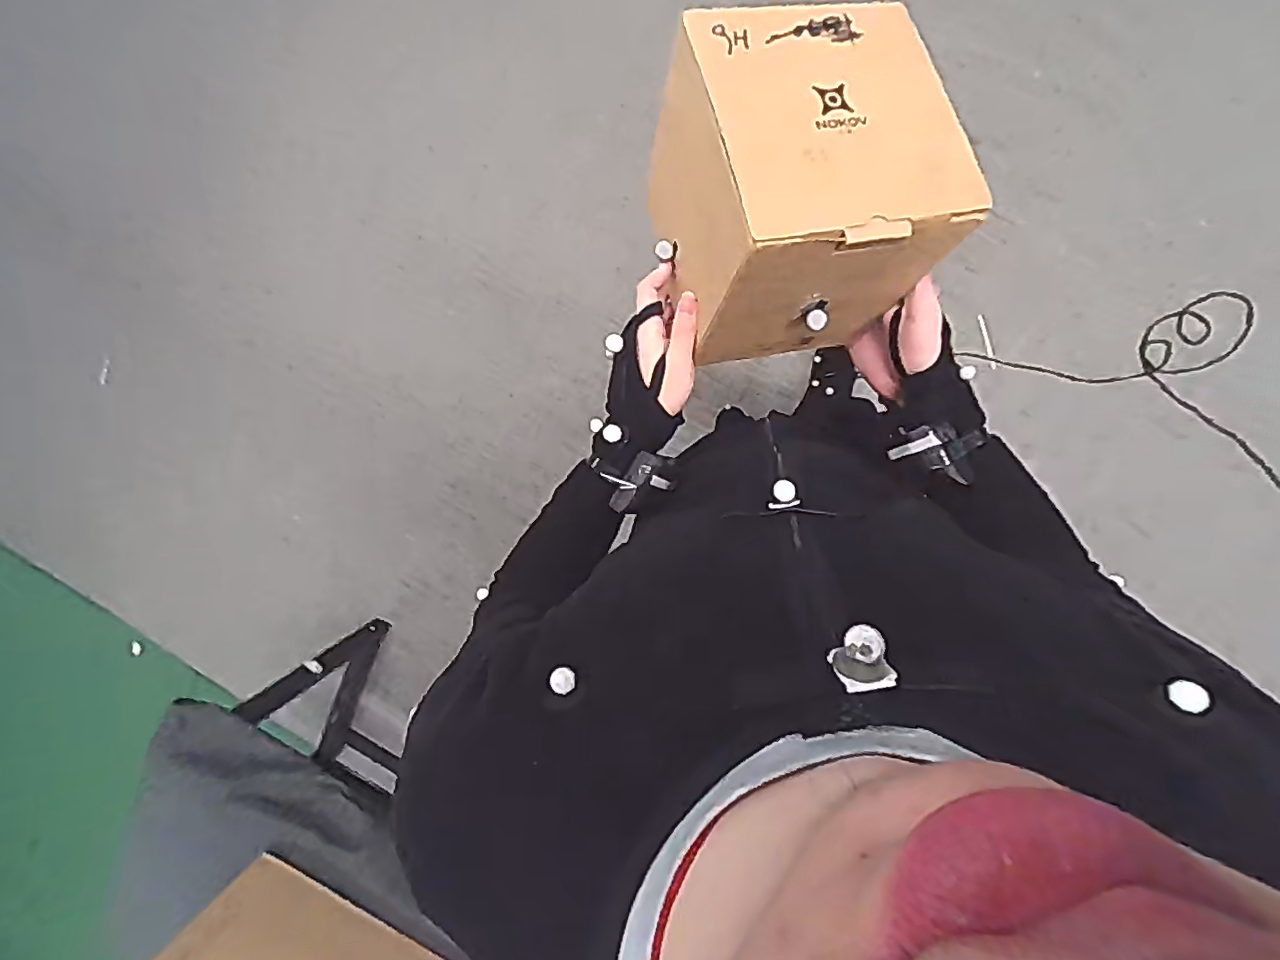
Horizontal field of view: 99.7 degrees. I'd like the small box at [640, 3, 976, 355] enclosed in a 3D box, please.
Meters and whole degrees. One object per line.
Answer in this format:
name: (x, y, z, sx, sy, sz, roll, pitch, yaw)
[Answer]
small box: (0.105, -0.210, 0.417, 0.168, 0.176, 0.179, -11, 79, -11)
